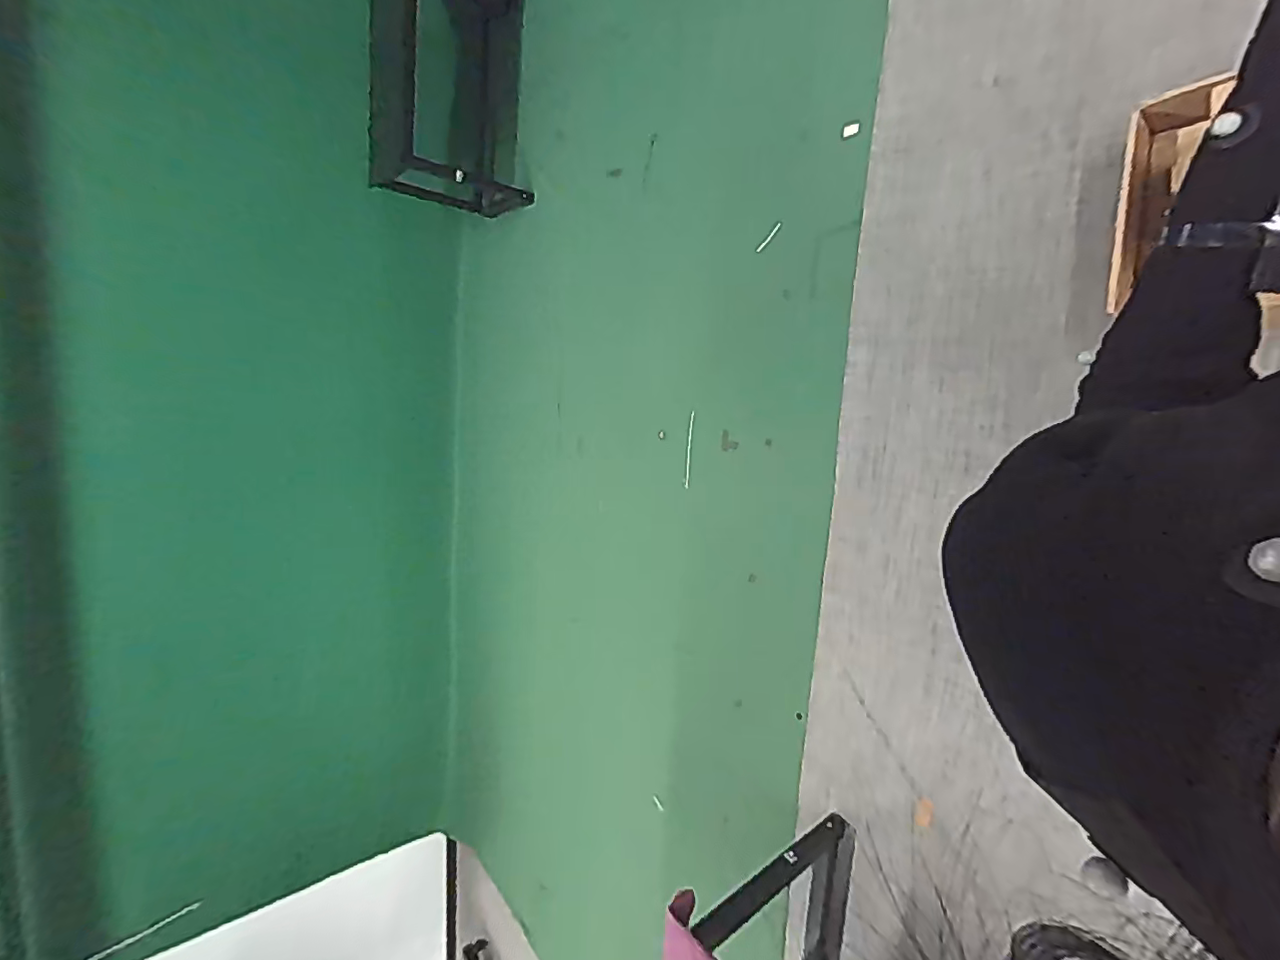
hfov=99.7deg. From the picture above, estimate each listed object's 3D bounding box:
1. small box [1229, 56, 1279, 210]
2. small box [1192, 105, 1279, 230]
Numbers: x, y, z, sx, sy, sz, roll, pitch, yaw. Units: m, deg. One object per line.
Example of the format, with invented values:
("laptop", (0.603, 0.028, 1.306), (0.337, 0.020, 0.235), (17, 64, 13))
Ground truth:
("small box", (0.981, -0.511, 0.780), (0.168, 0.176, 0.179), (2, 96, 50))
("small box", (1.077, -0.544, 0.917), (0.179, 0.176, 0.168), (5, 98, 50))
